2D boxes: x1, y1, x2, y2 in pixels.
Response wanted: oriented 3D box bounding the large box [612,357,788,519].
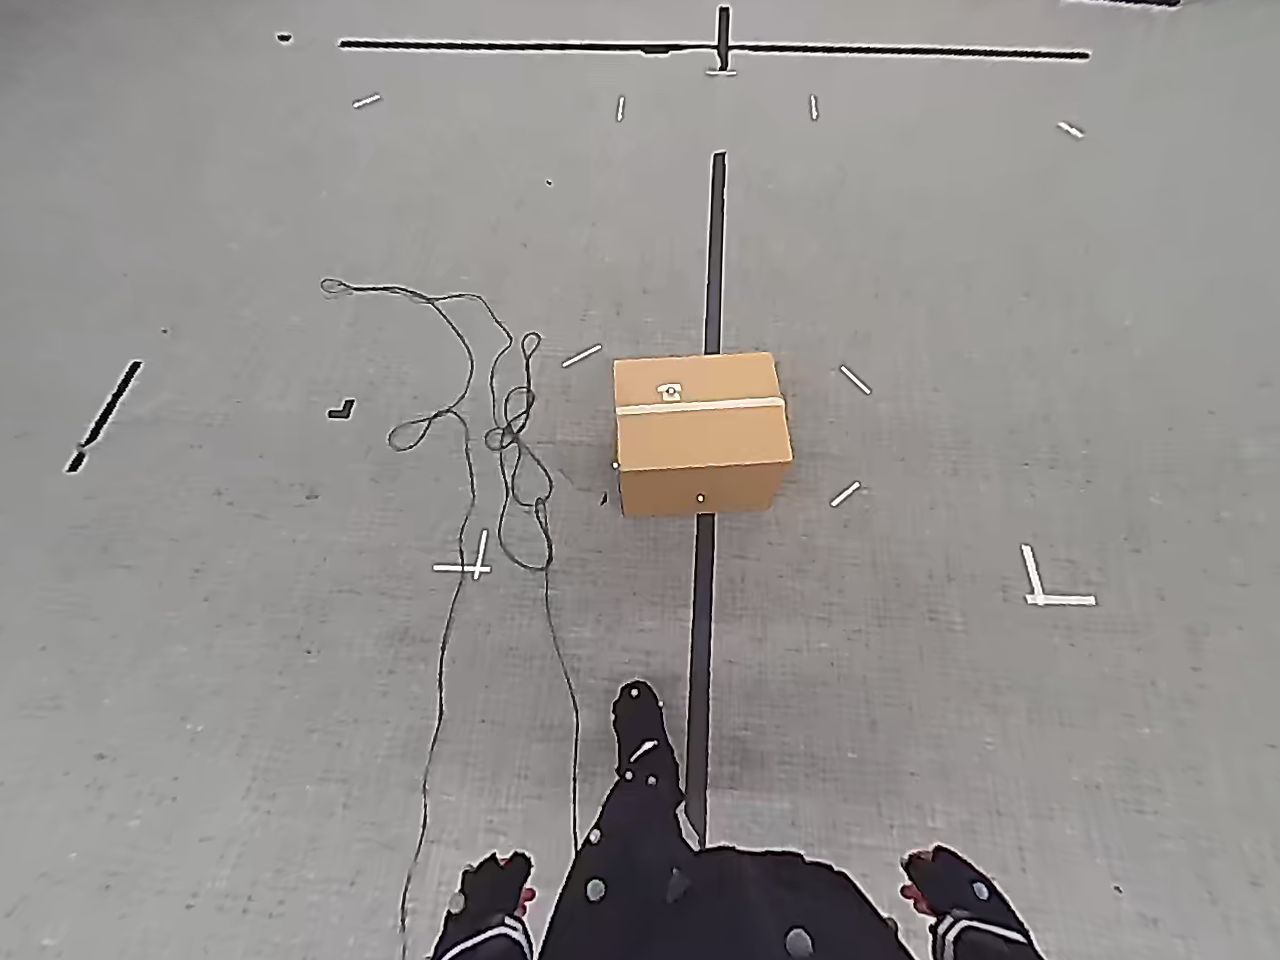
[{"bbox_3d":[0.142,-0.098,1.441,0.408,0.320,0.320,-4,65,0],"label":"large box"}]
